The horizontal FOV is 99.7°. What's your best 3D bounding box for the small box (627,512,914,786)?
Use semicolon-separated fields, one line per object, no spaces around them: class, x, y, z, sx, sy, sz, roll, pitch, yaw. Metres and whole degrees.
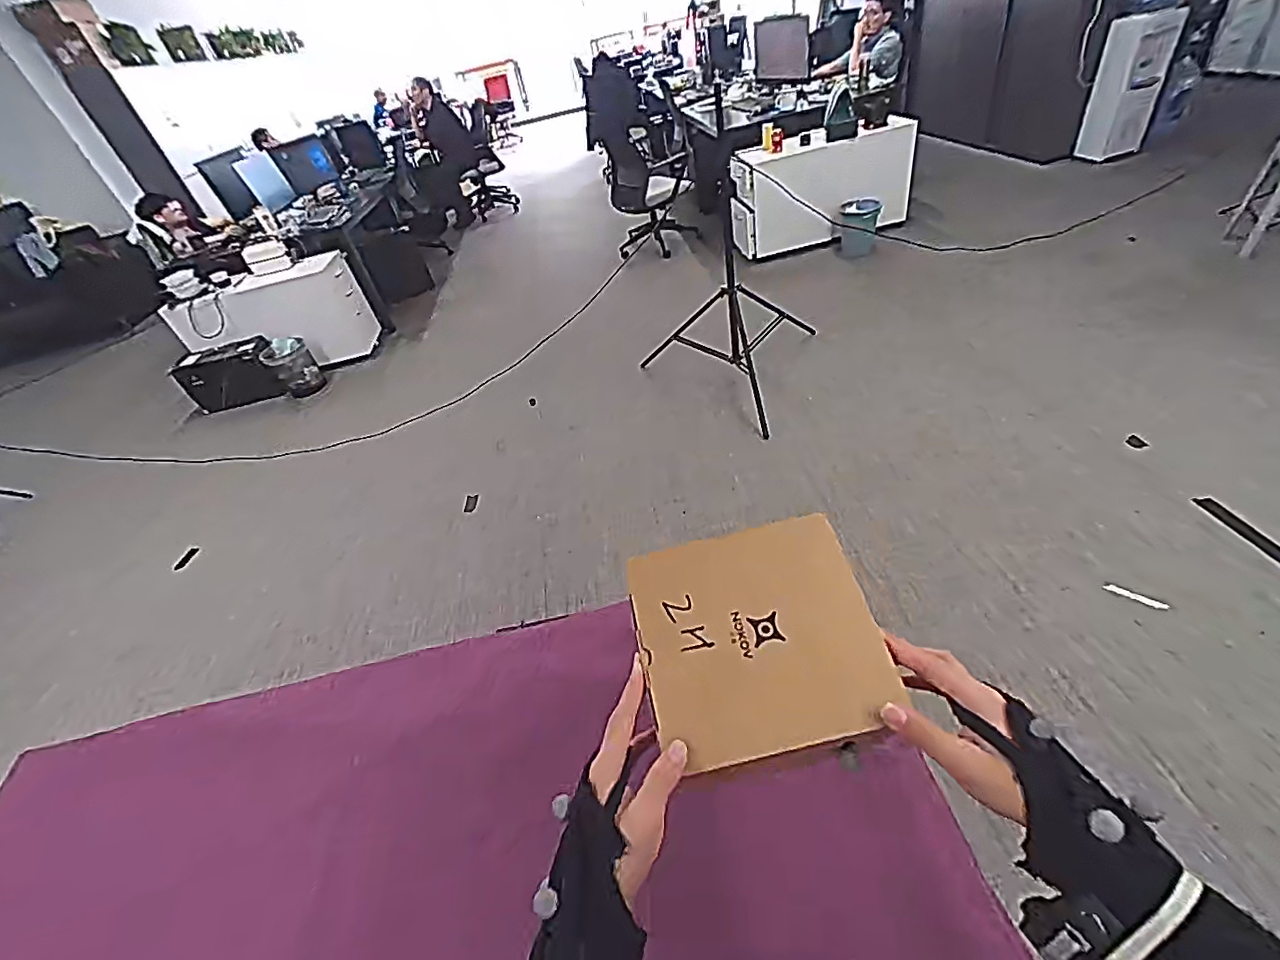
small box;0.097;0.154;0.472;0.179;0.176;0.168;-14;56;0
